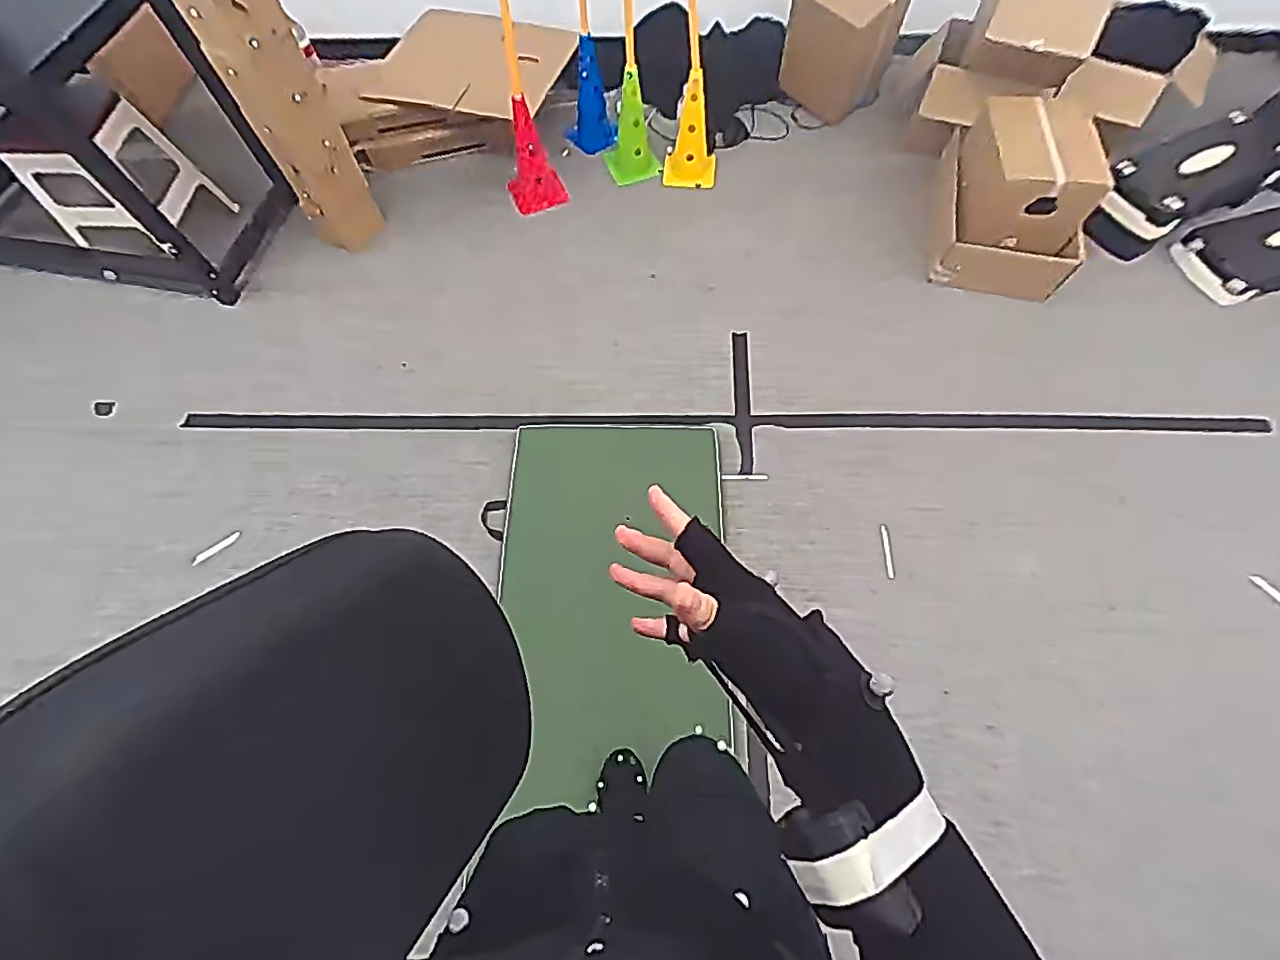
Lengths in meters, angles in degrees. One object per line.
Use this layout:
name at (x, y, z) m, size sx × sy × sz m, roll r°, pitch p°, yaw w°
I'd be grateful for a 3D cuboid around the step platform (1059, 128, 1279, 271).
step platform at (1.914, -1.021, 1.958) m, size 0.684 × 0.204 × 0.286 m, roll -26°, pitch 68°, yaw -10°
